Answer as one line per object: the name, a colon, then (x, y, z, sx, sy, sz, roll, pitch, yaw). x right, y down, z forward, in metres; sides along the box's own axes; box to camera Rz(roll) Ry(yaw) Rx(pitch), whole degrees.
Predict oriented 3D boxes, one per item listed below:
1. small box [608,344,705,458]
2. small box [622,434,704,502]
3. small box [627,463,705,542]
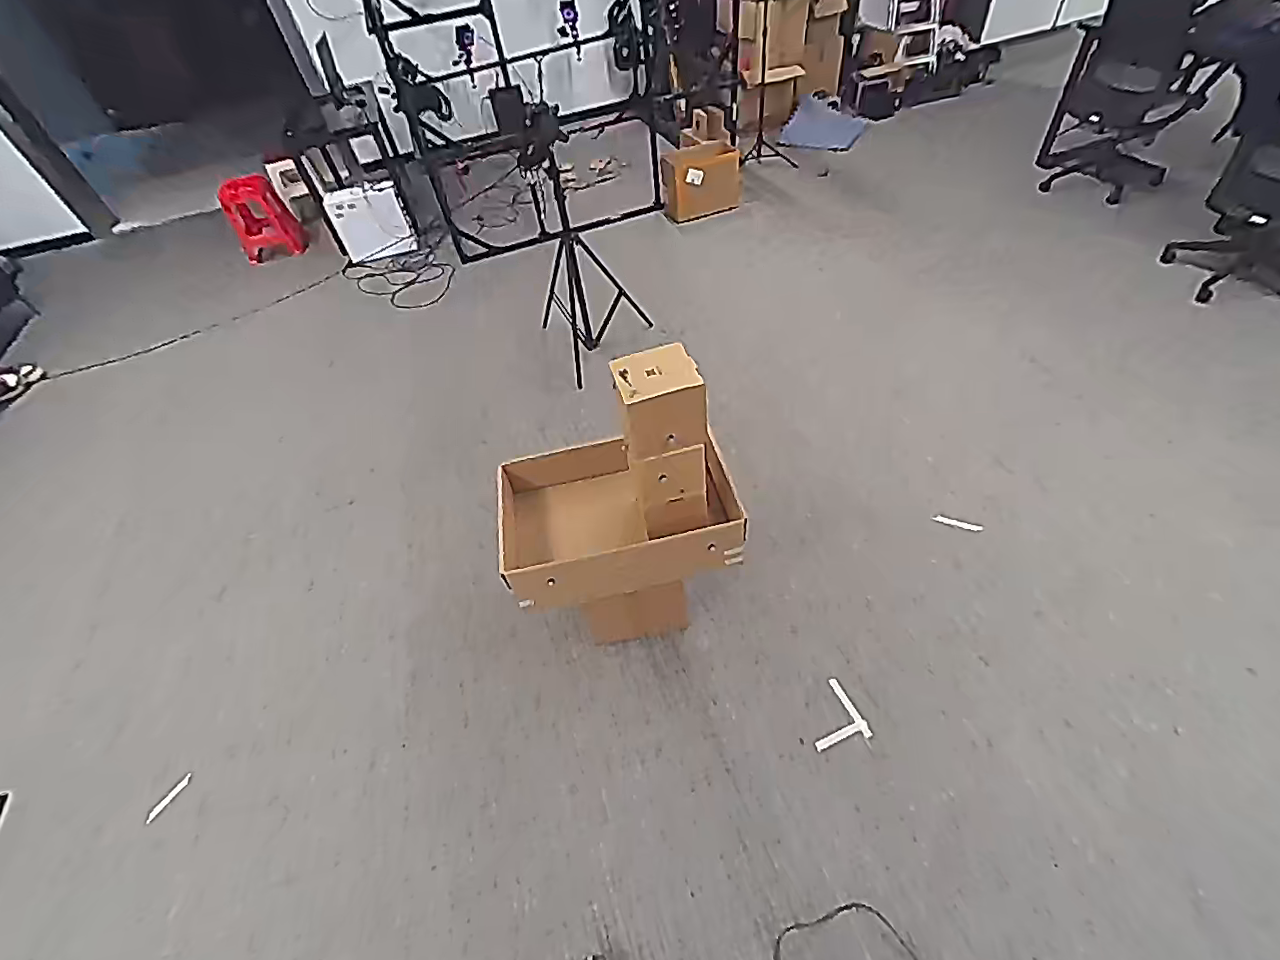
small box: (0.037, -0.175, 1.212, 0.179, 0.176, 0.168, -15, 47, -6)
small box: (0.055, -0.063, 1.330, 0.168, 0.176, 0.179, -14, 47, -4)
small box: (0.073, 0.046, 1.449, 0.168, 0.176, 0.179, -15, 47, -4)
